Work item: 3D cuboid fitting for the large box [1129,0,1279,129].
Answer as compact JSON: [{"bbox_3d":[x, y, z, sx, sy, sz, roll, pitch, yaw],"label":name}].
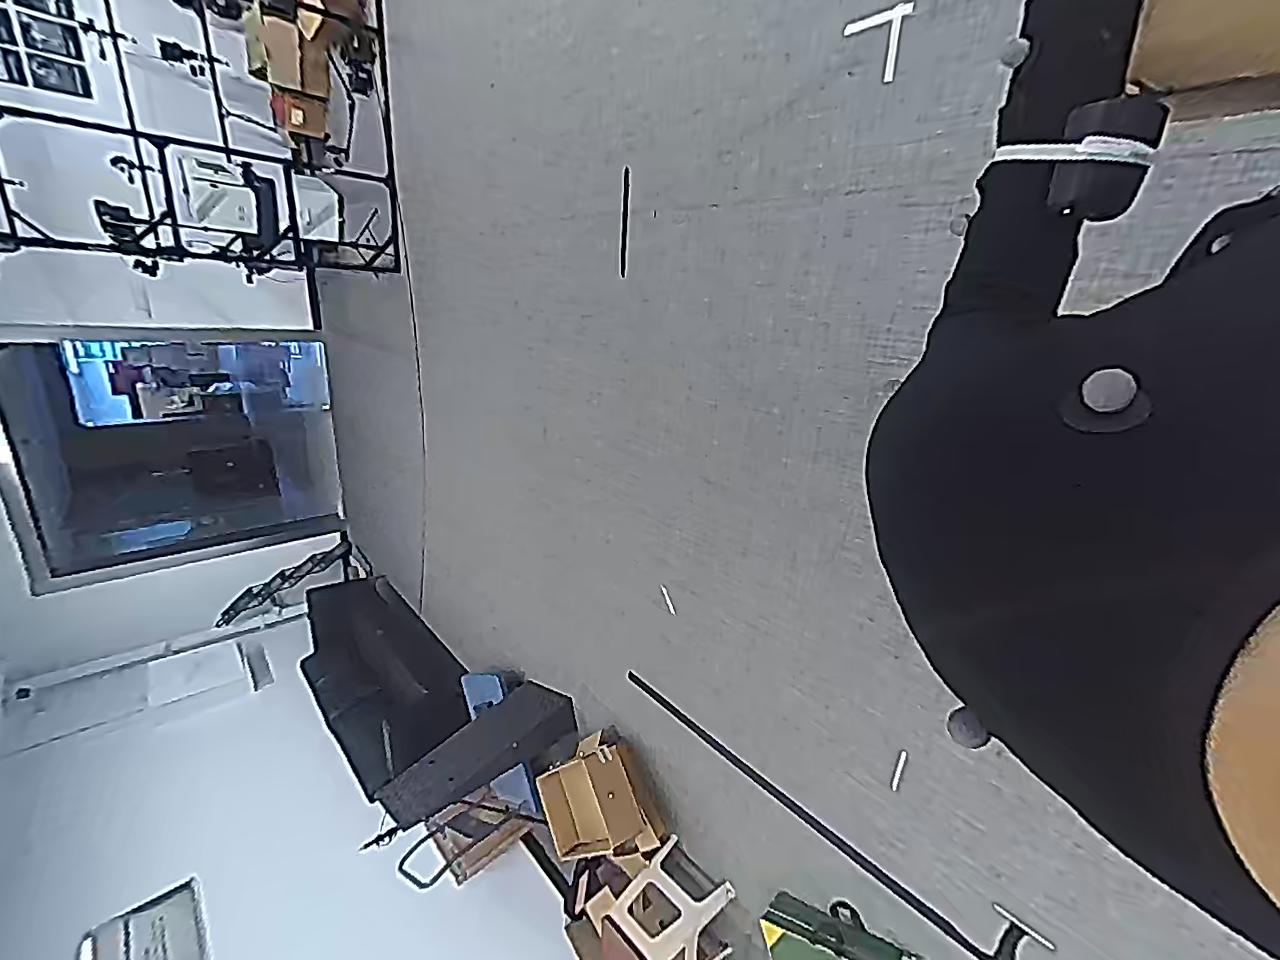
[{"bbox_3d":[0.547,-0.398,0.261,0.408,0.320,0.320,17,124,41],"label":"large box"}]
